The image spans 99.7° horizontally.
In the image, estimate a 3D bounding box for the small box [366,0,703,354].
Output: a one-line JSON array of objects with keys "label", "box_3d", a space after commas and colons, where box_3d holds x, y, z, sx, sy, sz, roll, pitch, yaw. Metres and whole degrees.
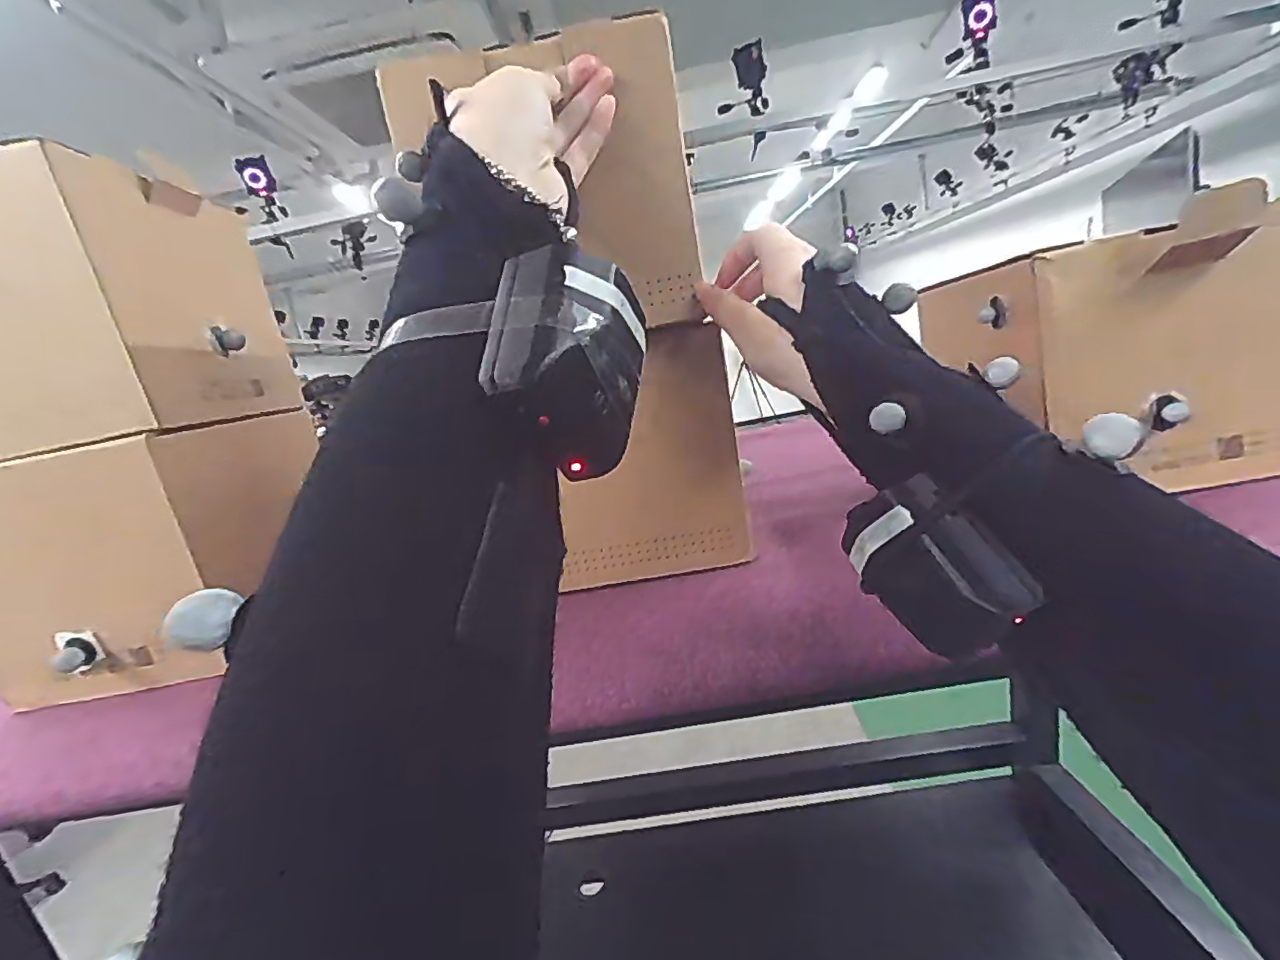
[{"label": "small box", "box_3d": [-0.057, -0.184, 0.389, 0.168, 0.176, 0.179, -11, 12, 0]}]

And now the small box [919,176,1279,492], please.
[{"label": "small box", "box_3d": [0.333, -0.097, 0.402, 0.168, 0.176, 0.179, -12, 11, 7]}]

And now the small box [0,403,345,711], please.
[{"label": "small box", "box_3d": [-0.363, 0.045, 0.421, 0.168, 0.176, 0.179, -12, 14, 0]}]

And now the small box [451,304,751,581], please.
[{"label": "small box", "box_3d": [-0.020, -0.030, 0.434, 0.179, 0.176, 0.168, -10, 12, 4]}]

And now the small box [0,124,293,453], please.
[{"label": "small box", "box_3d": [-0.401, -0.112, 0.387, 0.179, 0.176, 0.168, -12, 14, -1]}]
